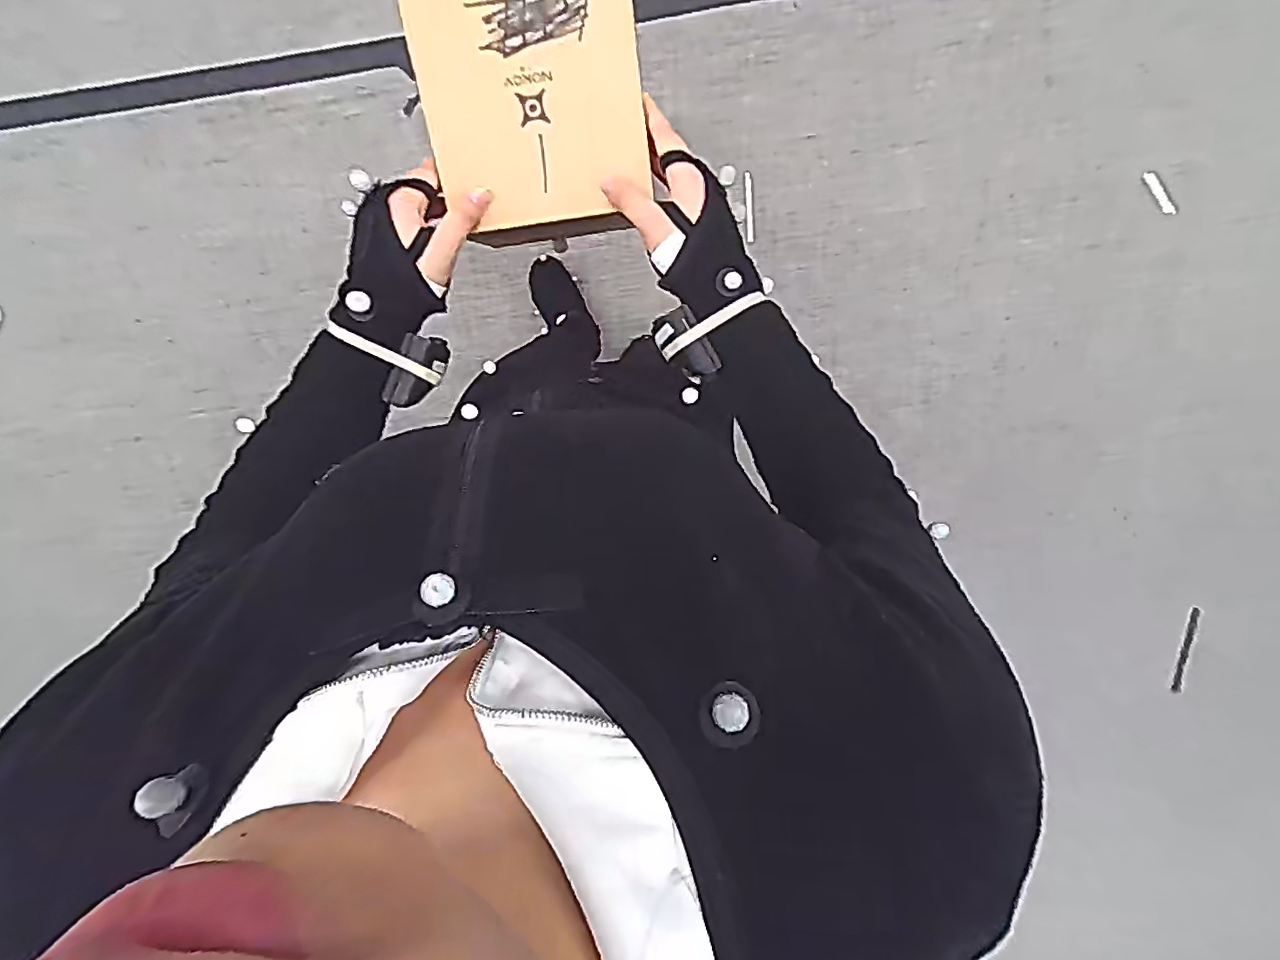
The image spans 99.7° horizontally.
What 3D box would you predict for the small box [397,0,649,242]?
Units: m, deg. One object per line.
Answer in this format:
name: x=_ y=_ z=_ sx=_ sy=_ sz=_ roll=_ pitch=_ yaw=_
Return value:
small box: x=-0.089 y=-0.321 z=0.477 sx=0.168 sy=0.176 sz=0.179 roll=-9 pitch=110 yaw=0
